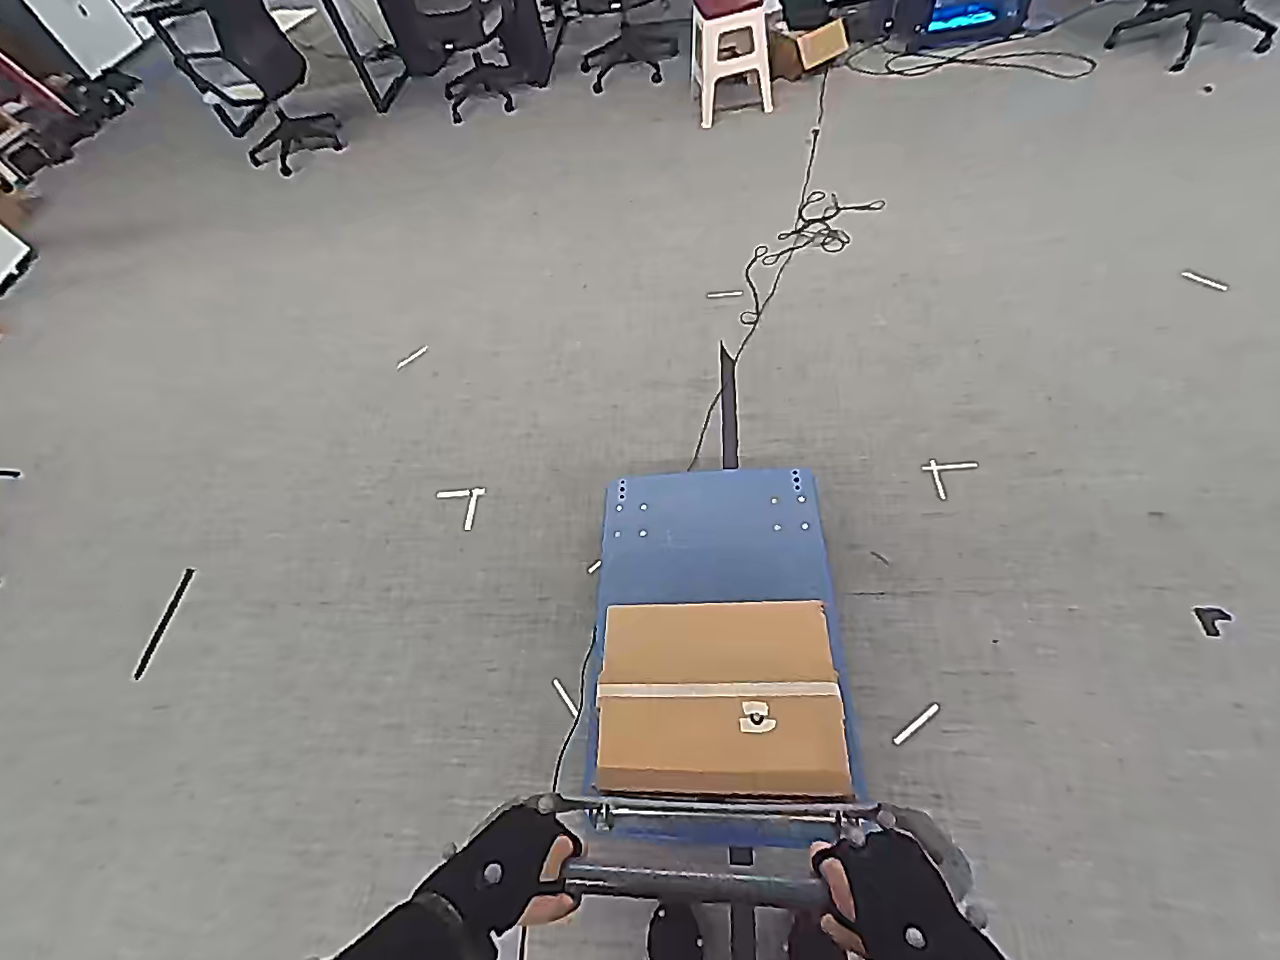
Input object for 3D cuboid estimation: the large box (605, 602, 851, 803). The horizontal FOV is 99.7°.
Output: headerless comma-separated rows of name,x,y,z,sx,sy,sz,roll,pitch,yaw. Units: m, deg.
large box,0.157,0.451,1.070,0.408,0.320,0.320,-4,58,8
